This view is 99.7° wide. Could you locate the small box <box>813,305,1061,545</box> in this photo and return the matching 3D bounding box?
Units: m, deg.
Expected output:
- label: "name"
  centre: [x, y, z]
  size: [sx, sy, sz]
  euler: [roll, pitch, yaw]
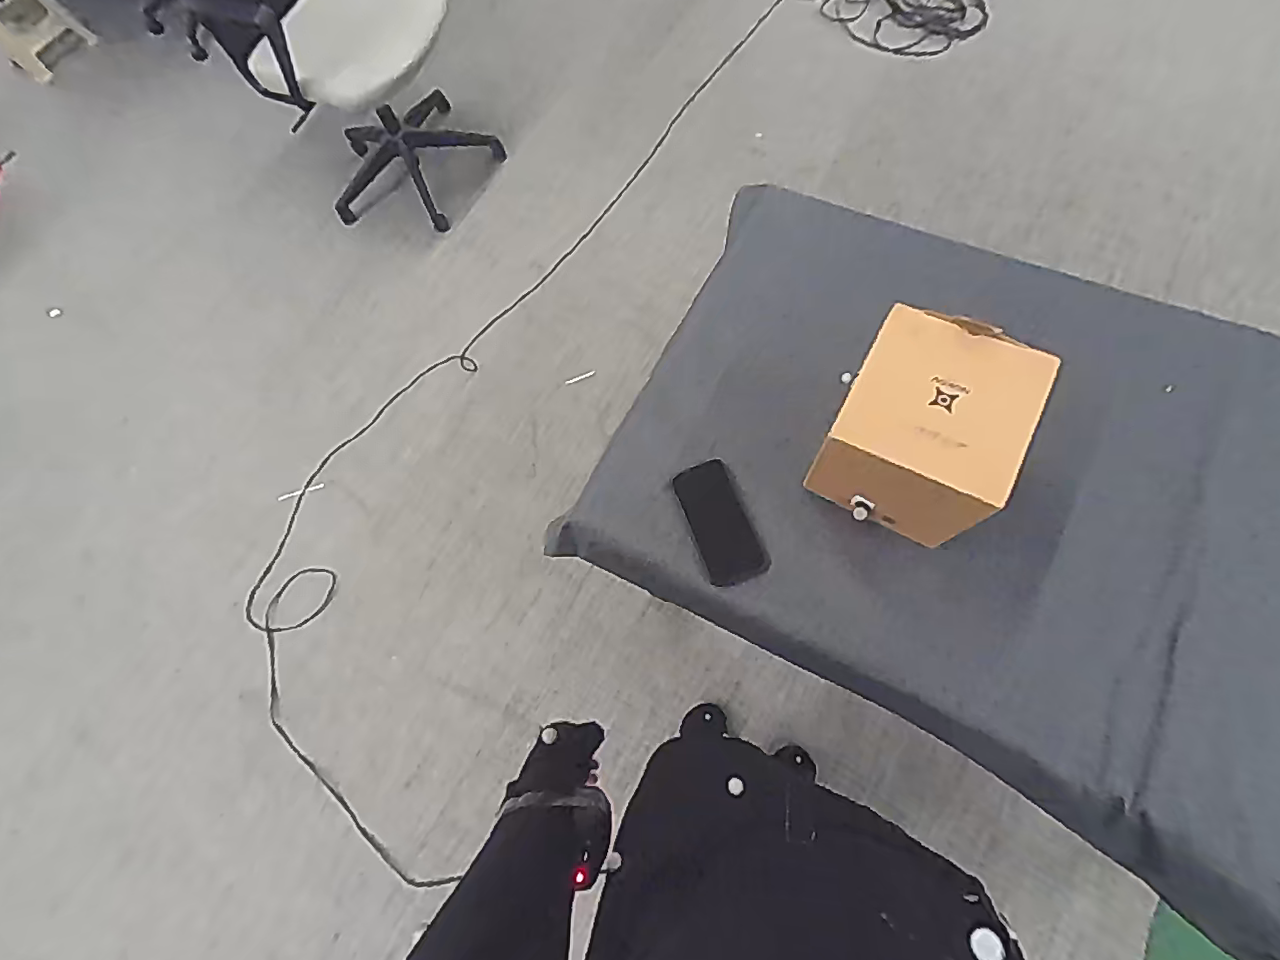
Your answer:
- label: "small box"
  centre: [0.308, -0.052, 0.600]
  size: [0.168, 0.176, 0.179]
  euler: [26, 77, 17]
